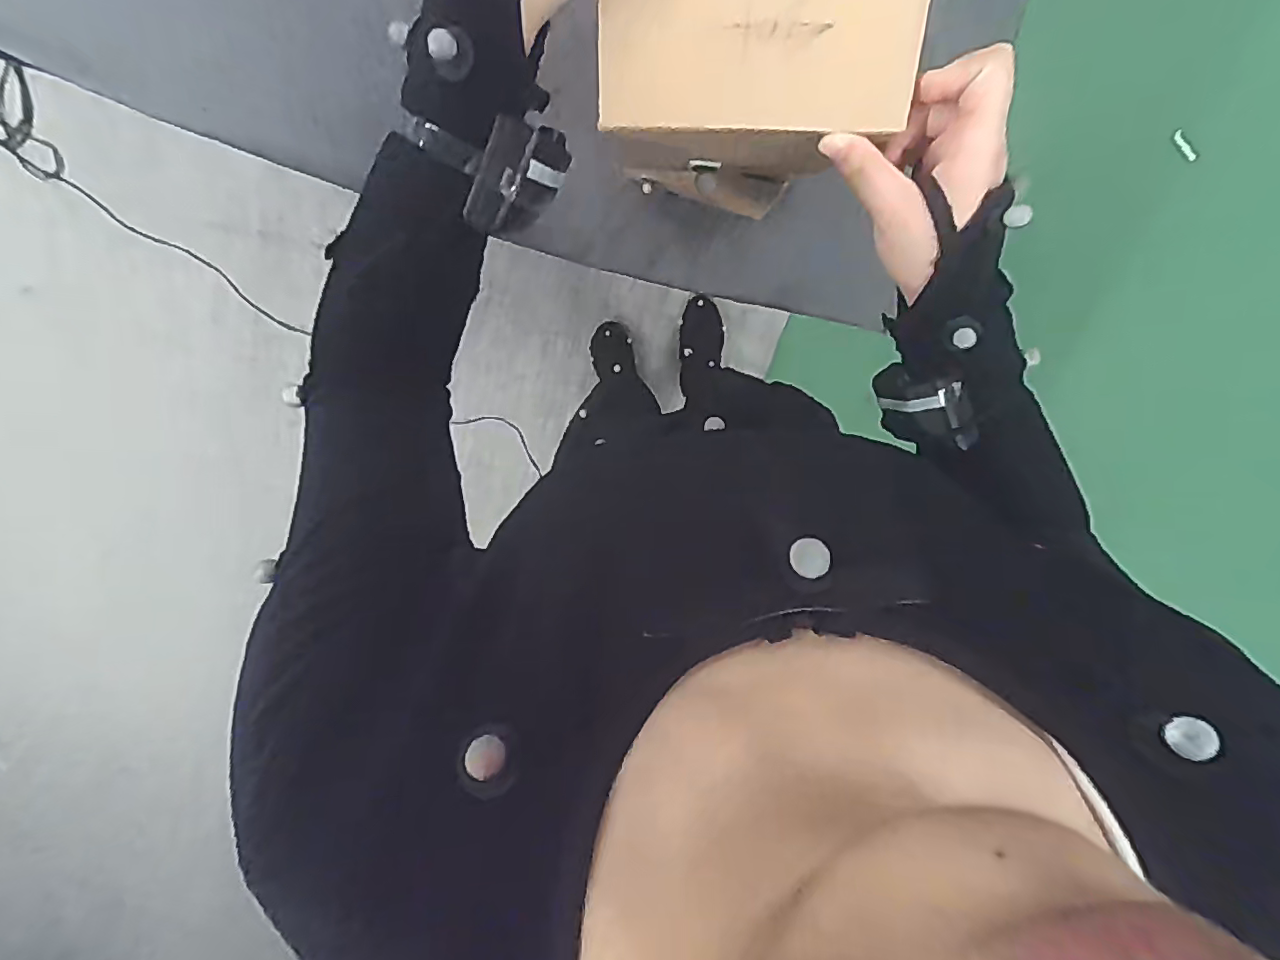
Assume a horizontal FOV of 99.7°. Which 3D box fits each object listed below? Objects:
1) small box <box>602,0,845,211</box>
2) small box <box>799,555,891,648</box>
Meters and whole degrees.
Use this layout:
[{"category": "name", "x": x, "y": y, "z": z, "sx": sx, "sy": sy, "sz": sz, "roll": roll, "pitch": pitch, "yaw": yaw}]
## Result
[{"category": "small box", "x": 0.075, "y": -0.378, "z": 0.512, "sx": 0.168, "sy": 0.176, "sz": 0.179, "roll": 17, "pitch": 107, "yaw": -2}, {"category": "small box", "x": 0.566, "y": 0.336, "z": 1.524, "sx": 0.168, "sy": 0.176, "sz": 0.179, "roll": 16, "pitch": 110, "yaw": -2}]
